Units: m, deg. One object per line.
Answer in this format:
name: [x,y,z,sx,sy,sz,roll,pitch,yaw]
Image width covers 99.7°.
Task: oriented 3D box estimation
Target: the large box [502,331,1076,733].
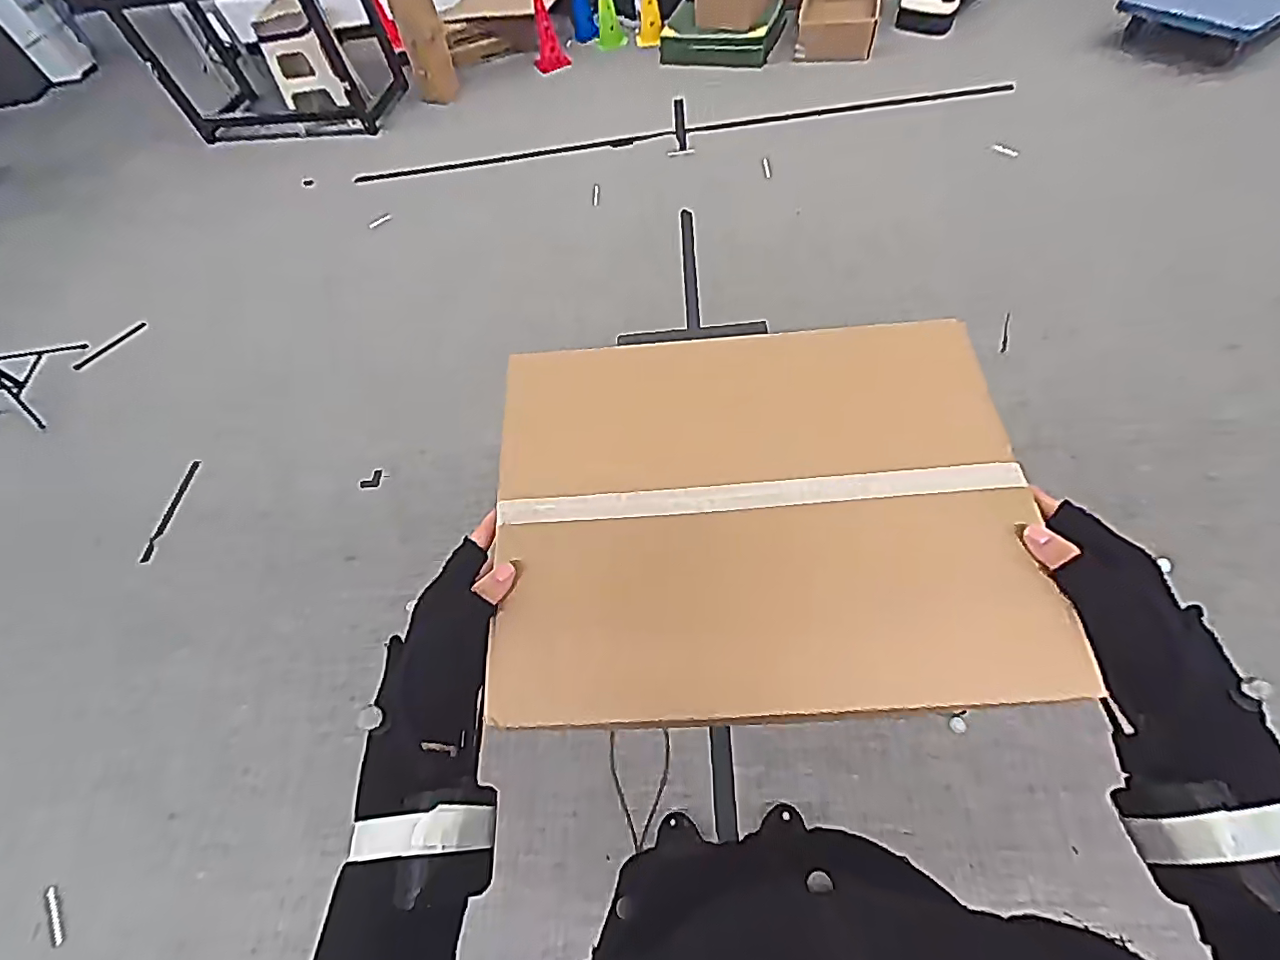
large box: [0.104,0.082,0.568,0.408,0.320,0.320,-5,64,3]
